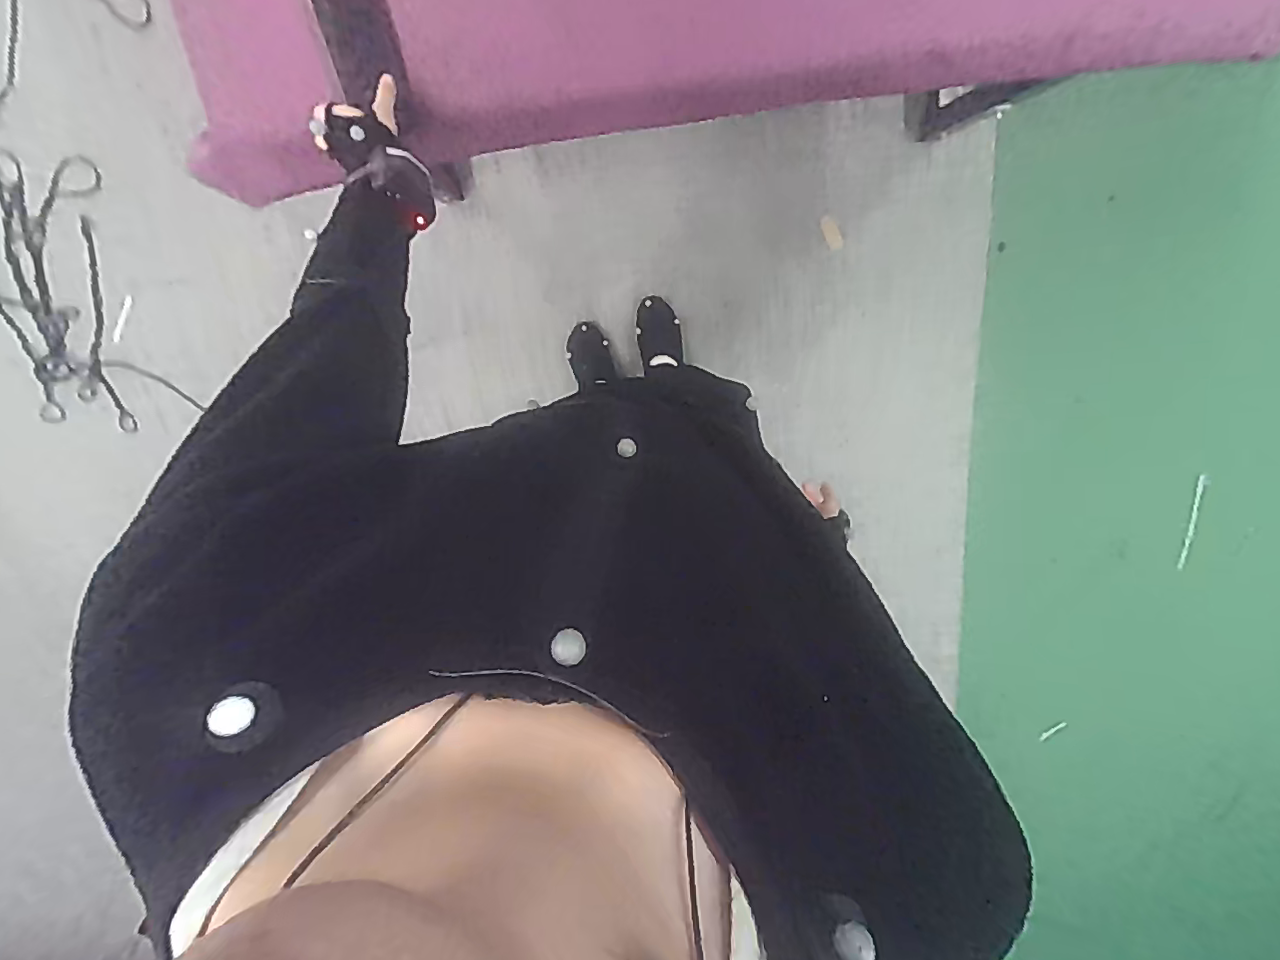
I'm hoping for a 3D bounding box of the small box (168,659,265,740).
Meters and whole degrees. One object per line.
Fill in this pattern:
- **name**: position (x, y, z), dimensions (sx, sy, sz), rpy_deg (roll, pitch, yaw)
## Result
- **small box**: position (-1.347, 0.688, 1.717), dimensions (0.168, 0.176, 0.179), rpy_deg (-9, 111, 3)
